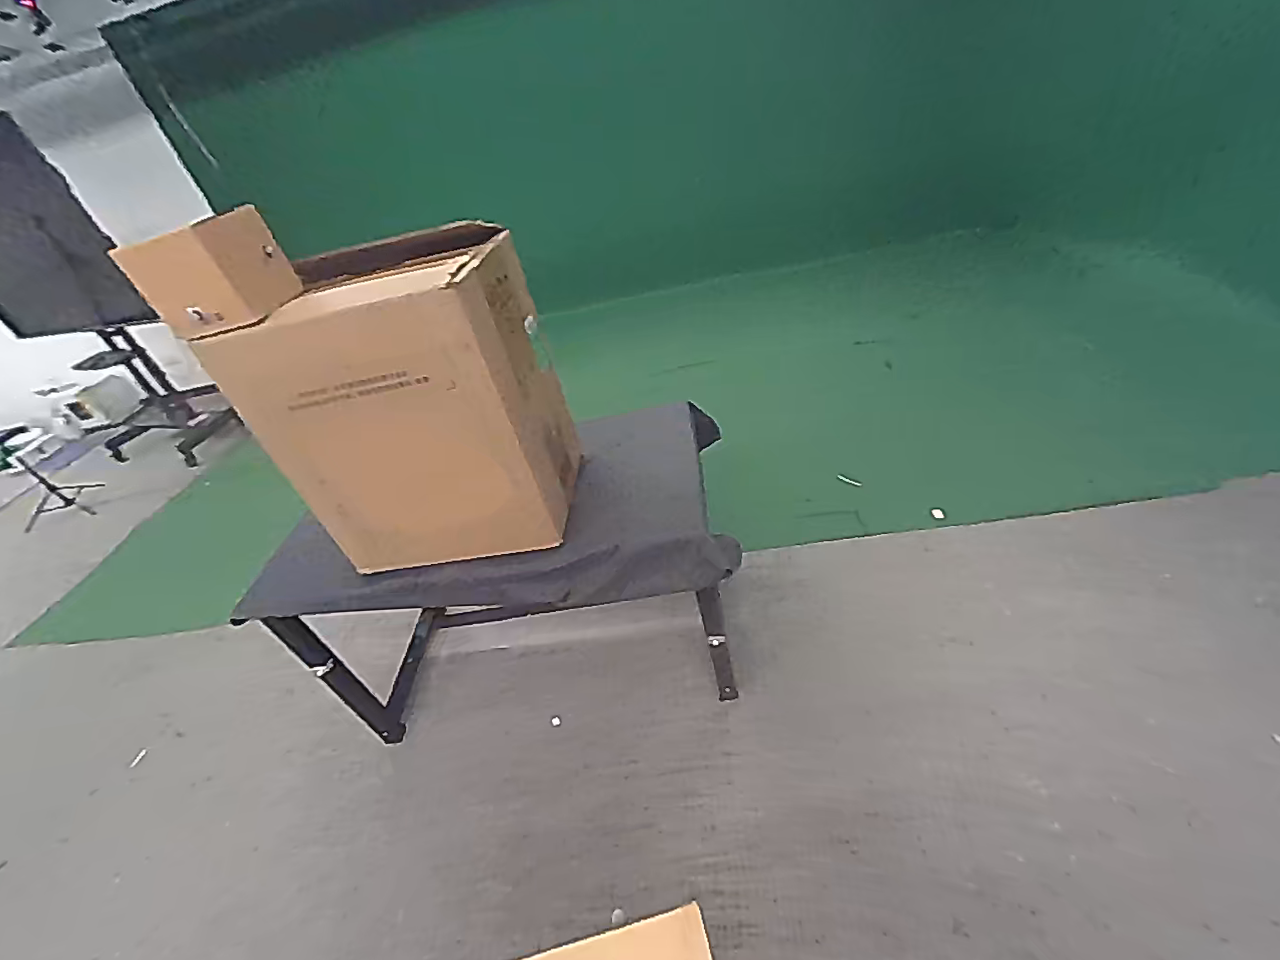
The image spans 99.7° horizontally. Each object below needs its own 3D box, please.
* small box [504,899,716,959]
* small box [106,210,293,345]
[{"bbox_3d":[-0.004,0.466,0.430,0.168,0.176,0.179,-14,49,-7],"label":"small box"},{"bbox_3d":[-0.784,-0.370,0.992,0.168,0.176,0.179,-12,37,8],"label":"small box"}]
